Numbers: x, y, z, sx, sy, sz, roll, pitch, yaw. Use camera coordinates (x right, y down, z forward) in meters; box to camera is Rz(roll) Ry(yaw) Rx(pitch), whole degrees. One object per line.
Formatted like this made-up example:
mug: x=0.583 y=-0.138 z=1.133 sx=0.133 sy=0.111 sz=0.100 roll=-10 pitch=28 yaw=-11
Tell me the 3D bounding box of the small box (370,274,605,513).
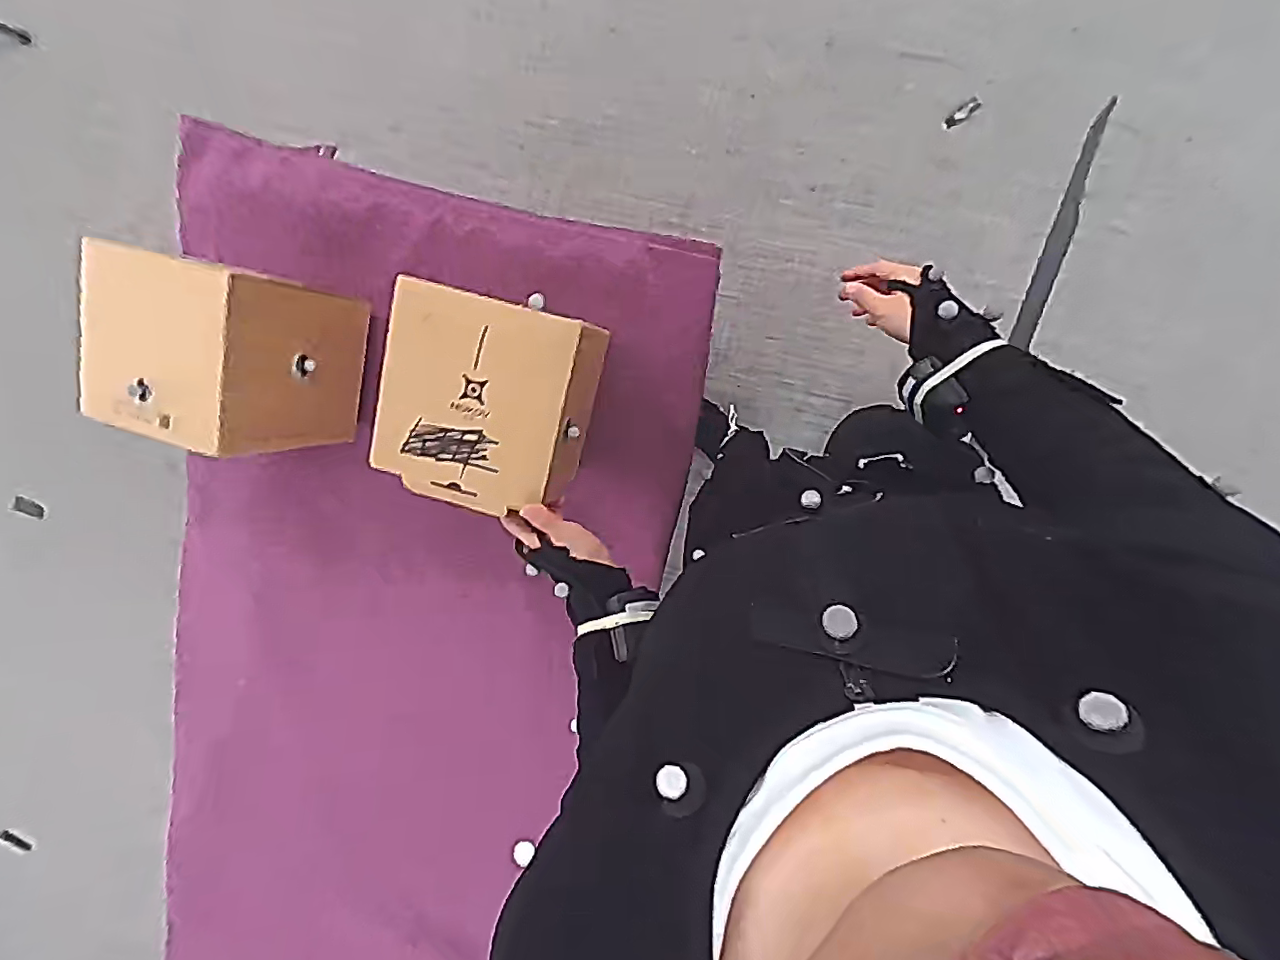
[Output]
small box: x=-0.141 y=-0.089 z=0.550 sx=0.168 sy=0.176 sz=0.179 roll=16 pitch=103 yaw=2
